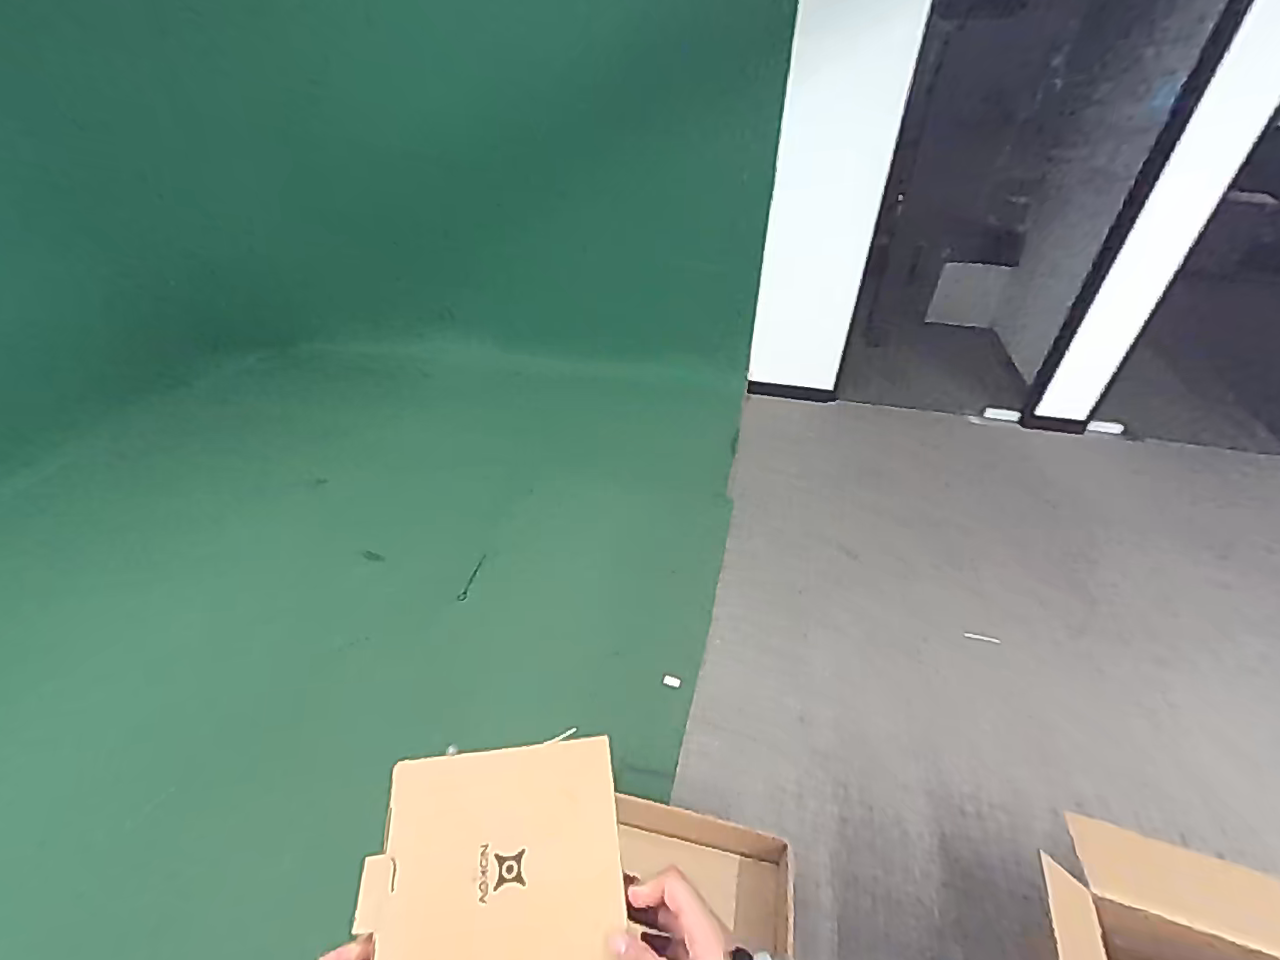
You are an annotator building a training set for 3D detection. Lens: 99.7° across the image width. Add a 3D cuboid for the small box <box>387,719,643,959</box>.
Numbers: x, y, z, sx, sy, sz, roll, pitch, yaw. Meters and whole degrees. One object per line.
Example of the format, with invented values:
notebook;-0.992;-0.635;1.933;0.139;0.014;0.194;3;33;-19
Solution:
small box;-0.101;0.326;0.474;0.179;0.176;0.168;-4;52;-9
